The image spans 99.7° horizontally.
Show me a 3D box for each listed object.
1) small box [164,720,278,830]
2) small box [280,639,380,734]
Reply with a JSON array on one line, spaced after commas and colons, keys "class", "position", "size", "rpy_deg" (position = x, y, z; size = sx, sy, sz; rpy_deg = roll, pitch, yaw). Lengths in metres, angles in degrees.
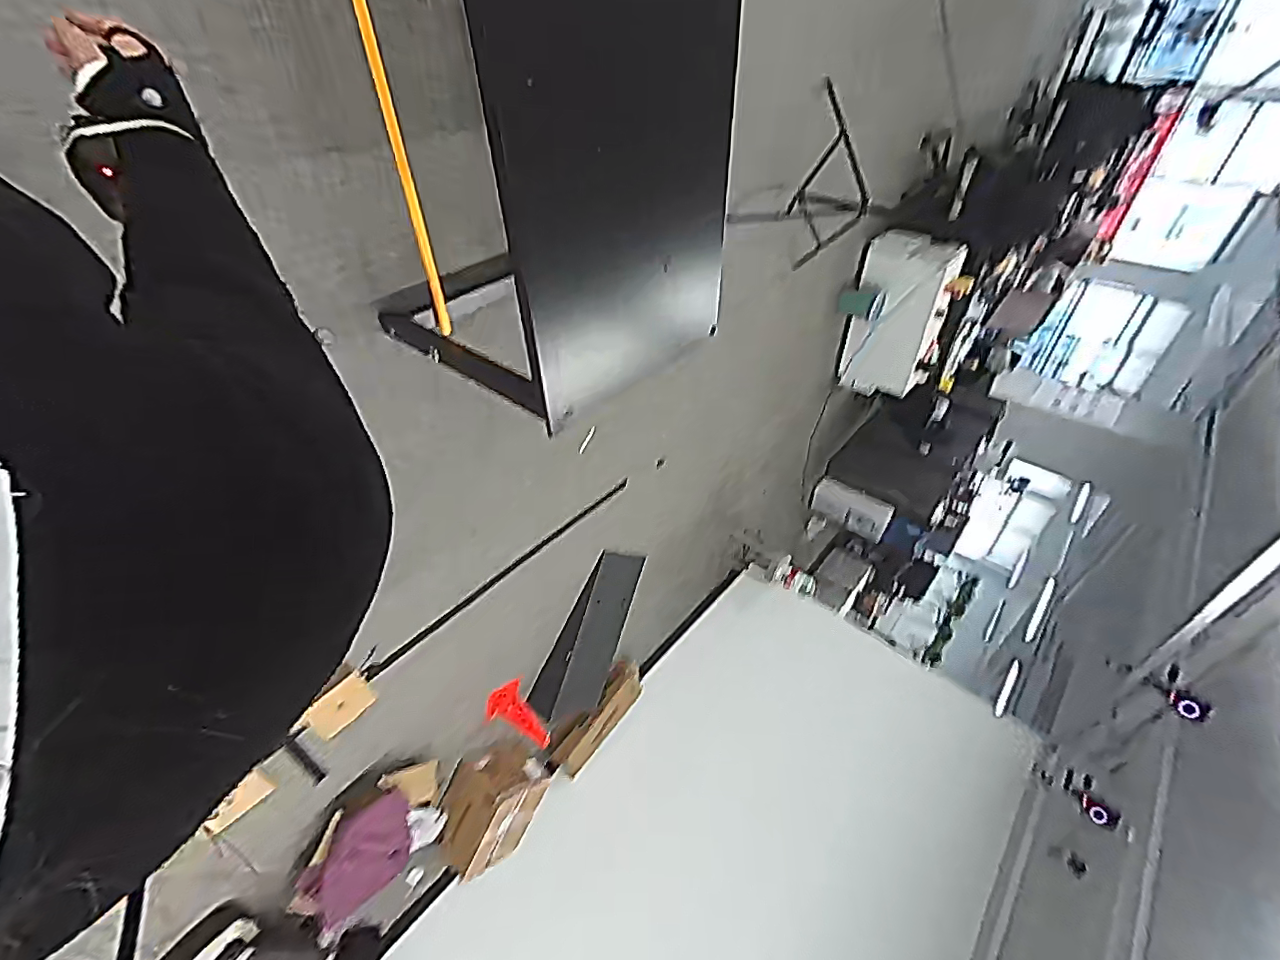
[{"class": "small box", "position": [-1.129, 0.791, 1.461], "size": [0.168, 0.176, 0.179], "rpy_deg": [-36, 141, -35]}, {"class": "small box", "position": [-0.923, 0.609, 1.612], "size": [0.168, 0.176, 0.179], "rpy_deg": [-42, 143, -31]}]
